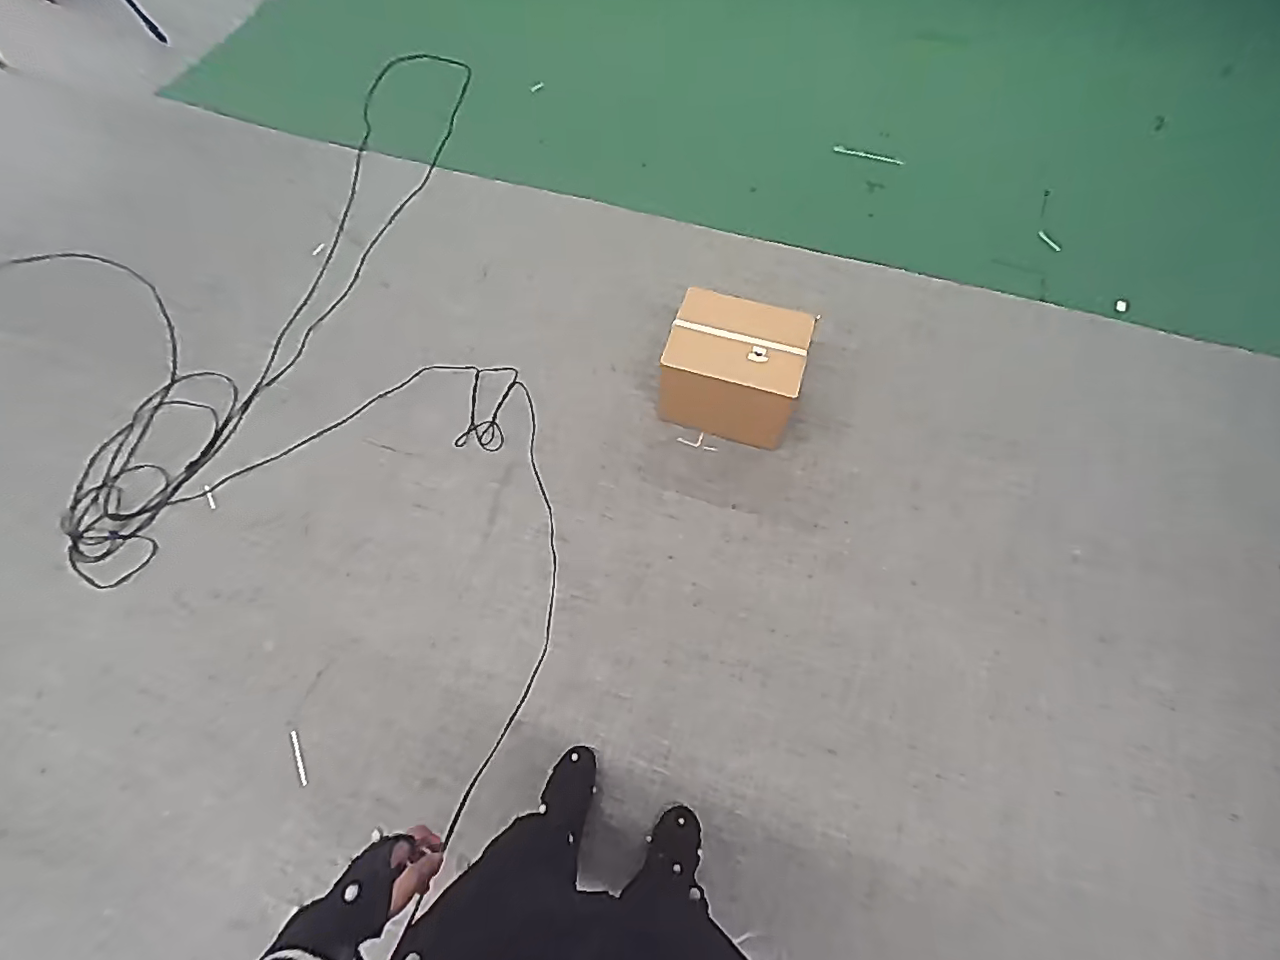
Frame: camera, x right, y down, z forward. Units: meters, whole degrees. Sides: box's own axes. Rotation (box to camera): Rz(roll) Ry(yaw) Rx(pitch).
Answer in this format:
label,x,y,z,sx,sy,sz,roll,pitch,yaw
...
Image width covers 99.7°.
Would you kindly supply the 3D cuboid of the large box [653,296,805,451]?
label,x,y,z,sx,sy,sz,roll,pitch,yaw
large box,0.274,-0.337,1.752,0.408,0.320,0.320,15,65,7
